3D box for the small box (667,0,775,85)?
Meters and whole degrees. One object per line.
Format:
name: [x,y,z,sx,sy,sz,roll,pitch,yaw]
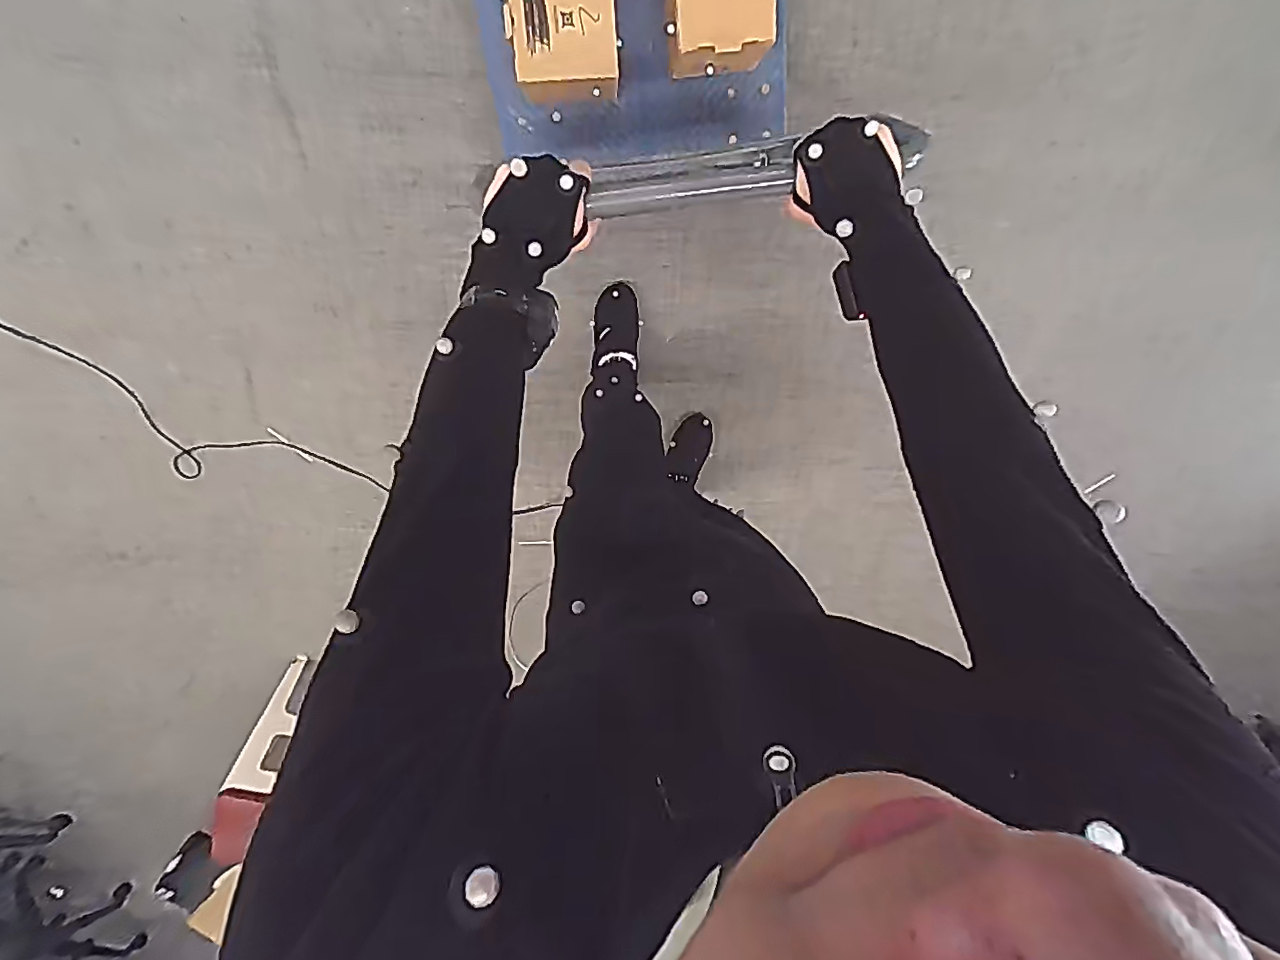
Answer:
small box: [0.139,-0.843,0.971,0.168,0.176,0.179,-6,114,0]
